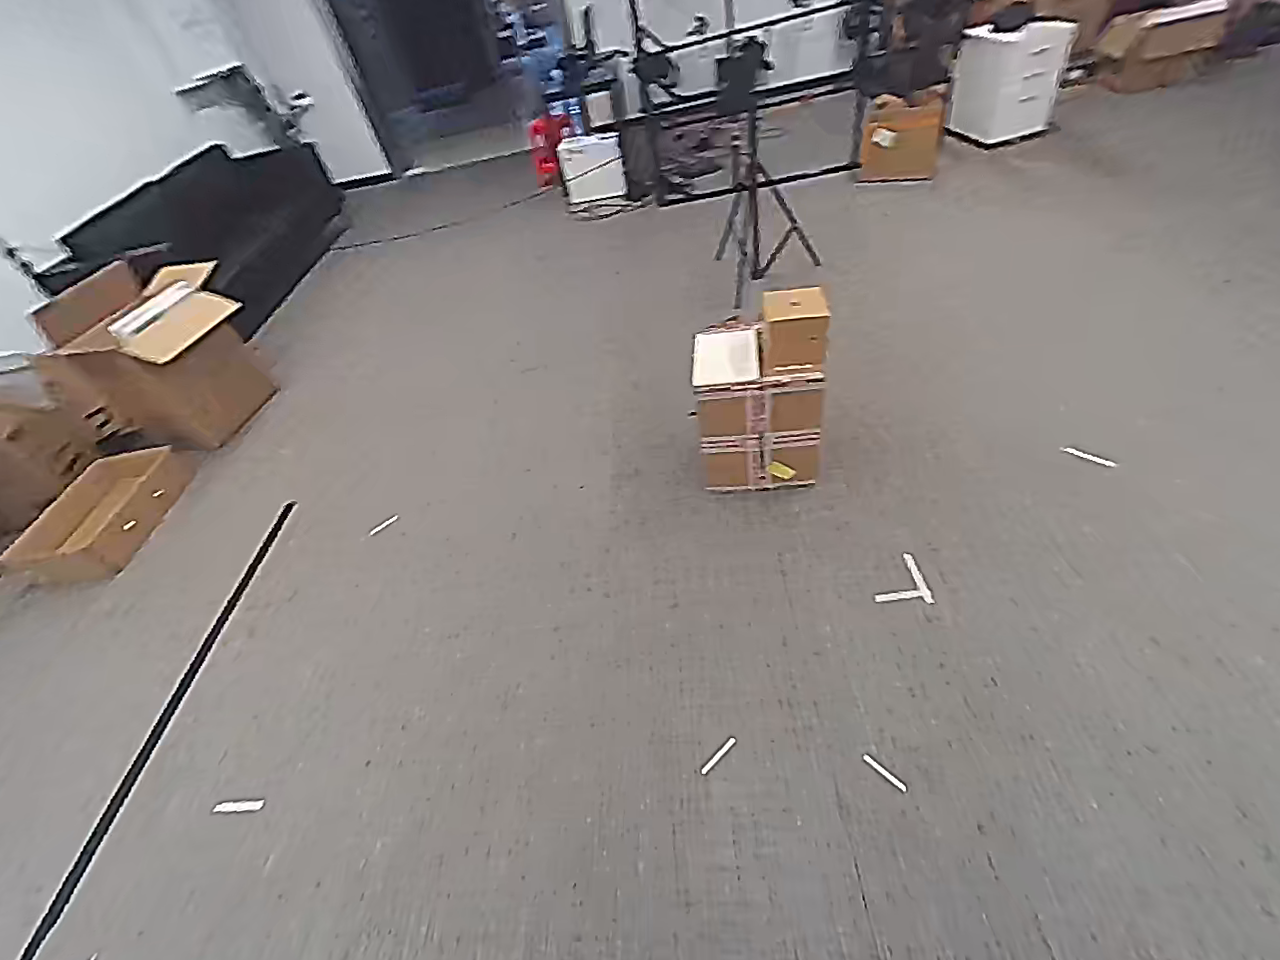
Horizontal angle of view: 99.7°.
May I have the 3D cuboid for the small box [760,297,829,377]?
[{"bbox_3d":[0.461,-0.431,1.643,0.179,0.176,0.168,-4,47,8],"label":"small box"}]
